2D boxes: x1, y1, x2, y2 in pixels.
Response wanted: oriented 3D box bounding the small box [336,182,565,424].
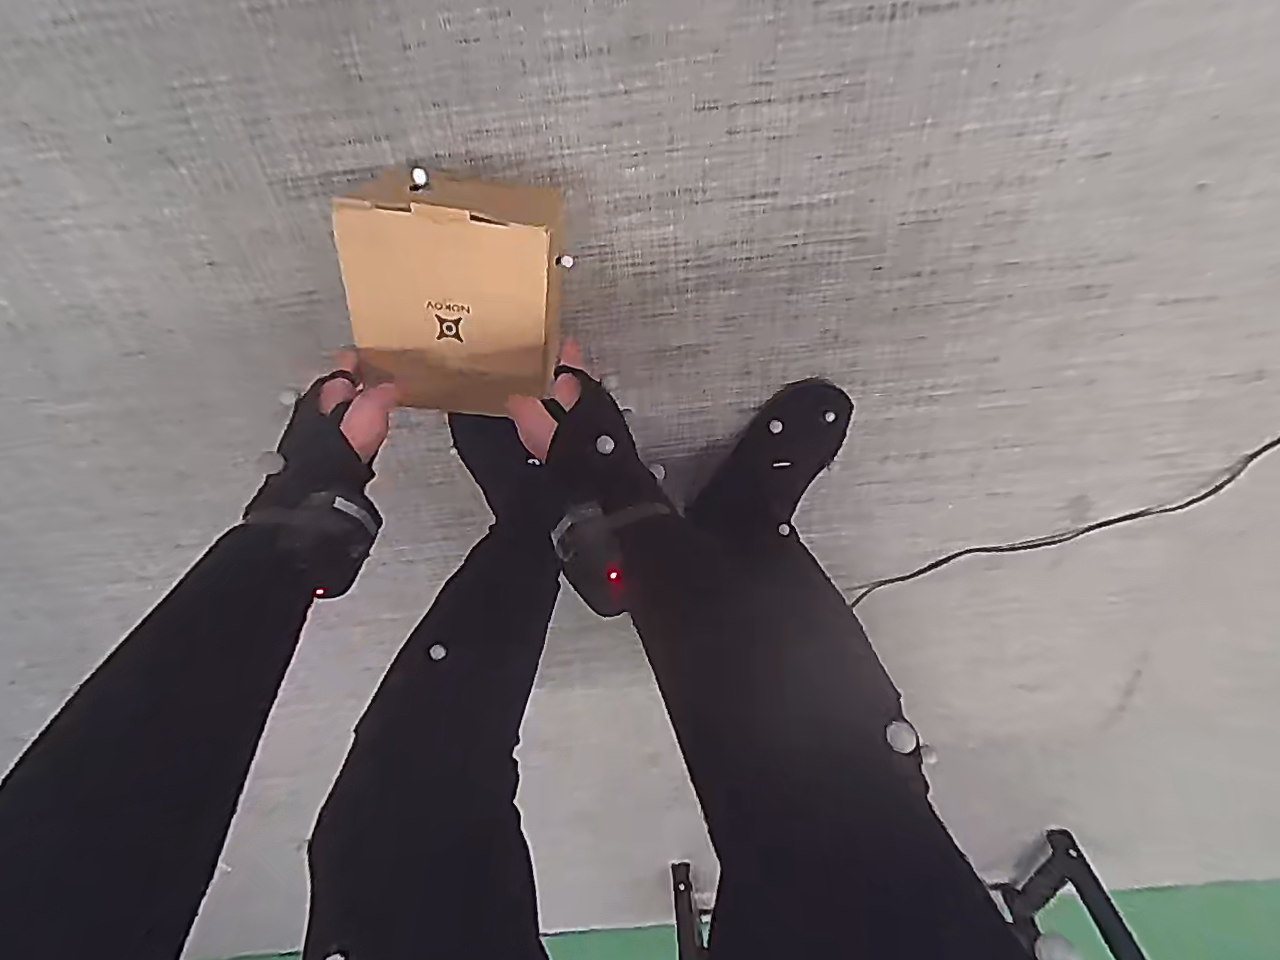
[{"bbox_3d":[-0.165,-0.177,0.524,0.168,0.176,0.179,6,123,-7],"label":"small box"}]
